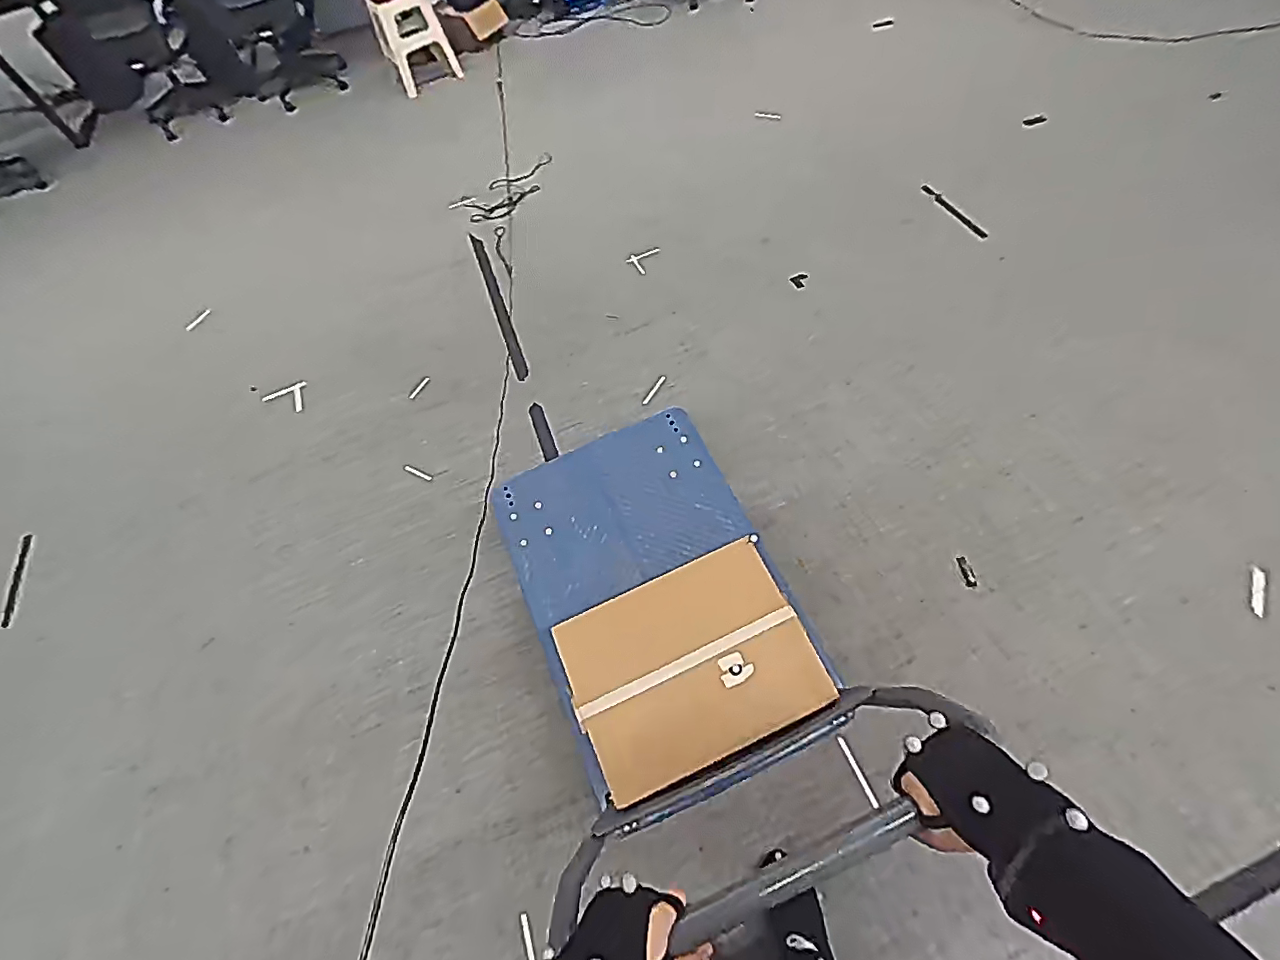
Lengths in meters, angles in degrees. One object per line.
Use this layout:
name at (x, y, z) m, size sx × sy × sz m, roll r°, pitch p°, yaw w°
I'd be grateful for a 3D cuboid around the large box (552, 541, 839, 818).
large box at (0.097, 0.382, 1.045) m, size 0.408 × 0.320 × 0.320 m, roll -25°, pitch 65°, yaw -6°
